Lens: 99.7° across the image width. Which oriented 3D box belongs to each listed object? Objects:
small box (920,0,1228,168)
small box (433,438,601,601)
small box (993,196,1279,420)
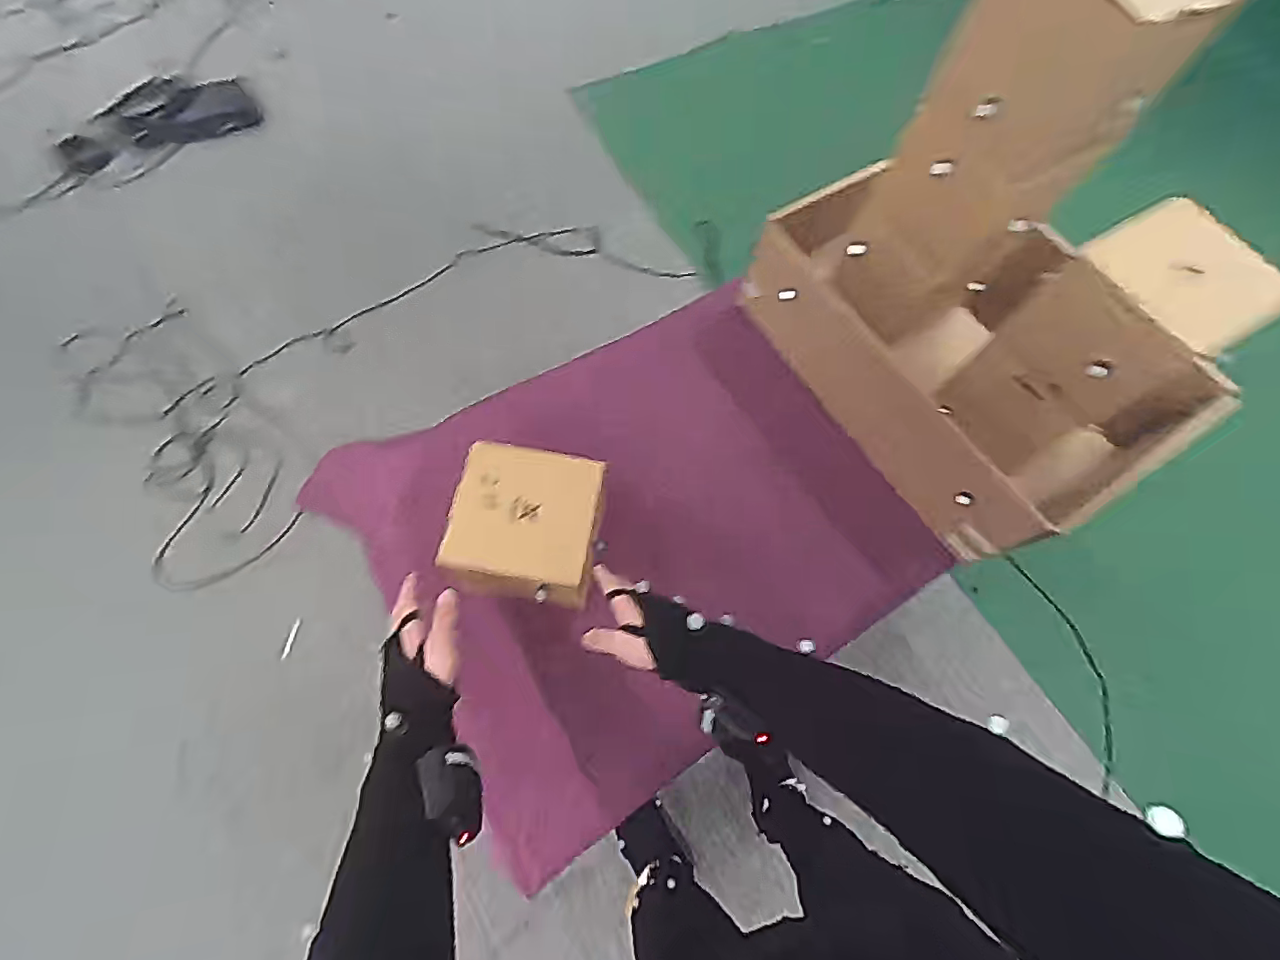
[{"bbox_3d":[0.462,-0.482,0.598,0.168,0.176,0.179,-28,74,-14],"label":"small box"},{"bbox_3d":[-0.154,0.064,0.744,0.179,0.176,0.168,10,67,0],"label":"small box"},{"bbox_3d":[0.586,-0.201,0.669,0.179,0.176,0.168,-27,73,-13],"label":"small box"}]
